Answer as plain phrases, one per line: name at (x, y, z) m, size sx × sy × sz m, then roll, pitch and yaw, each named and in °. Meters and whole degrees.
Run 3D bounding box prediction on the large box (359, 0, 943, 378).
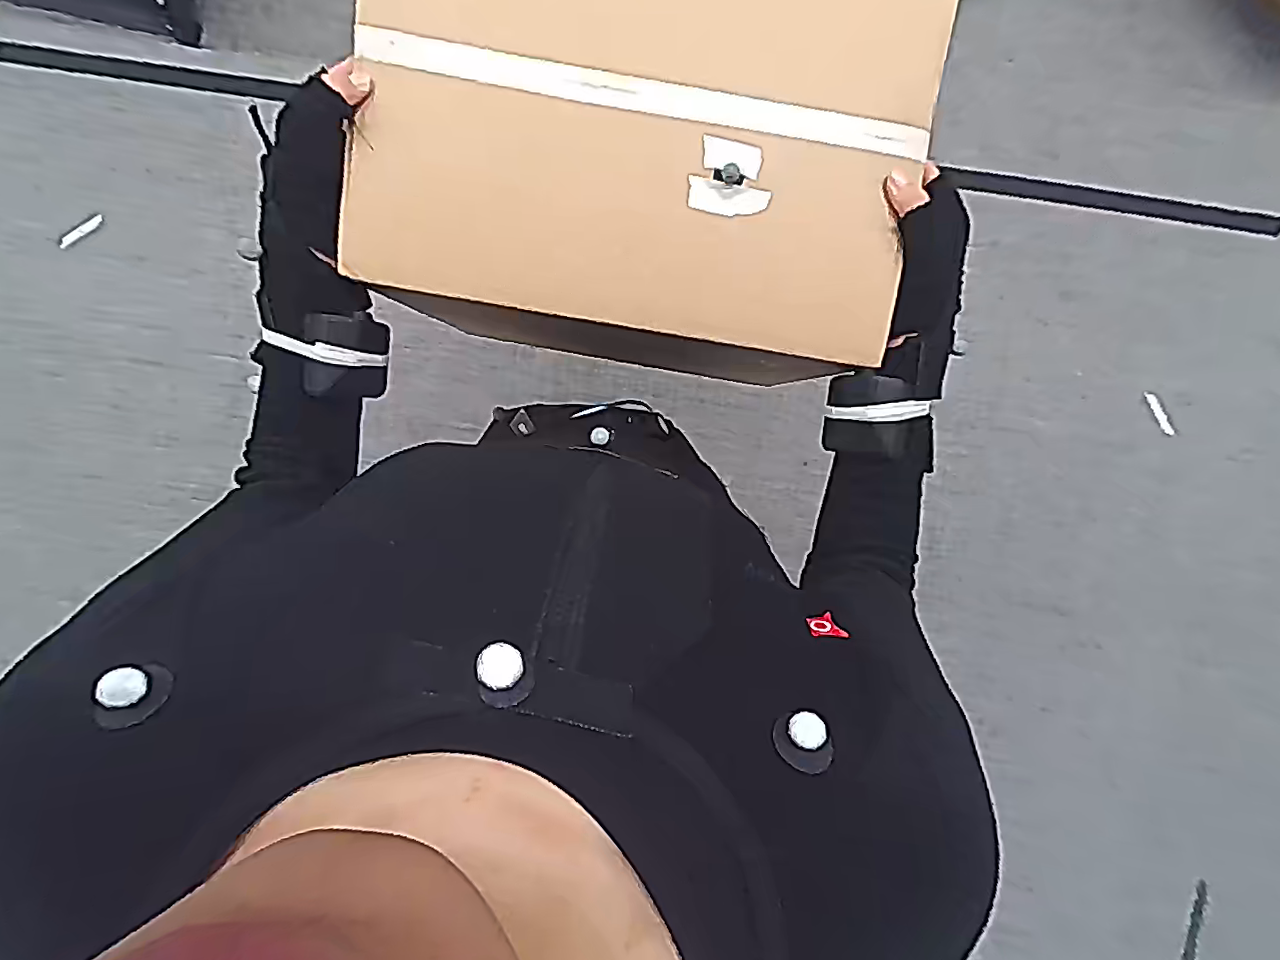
large box at (0.001, -0.292, 0.540) m, size 0.408 × 0.320 × 0.320 m, roll 9°, pitch 98°, yaw -3°
